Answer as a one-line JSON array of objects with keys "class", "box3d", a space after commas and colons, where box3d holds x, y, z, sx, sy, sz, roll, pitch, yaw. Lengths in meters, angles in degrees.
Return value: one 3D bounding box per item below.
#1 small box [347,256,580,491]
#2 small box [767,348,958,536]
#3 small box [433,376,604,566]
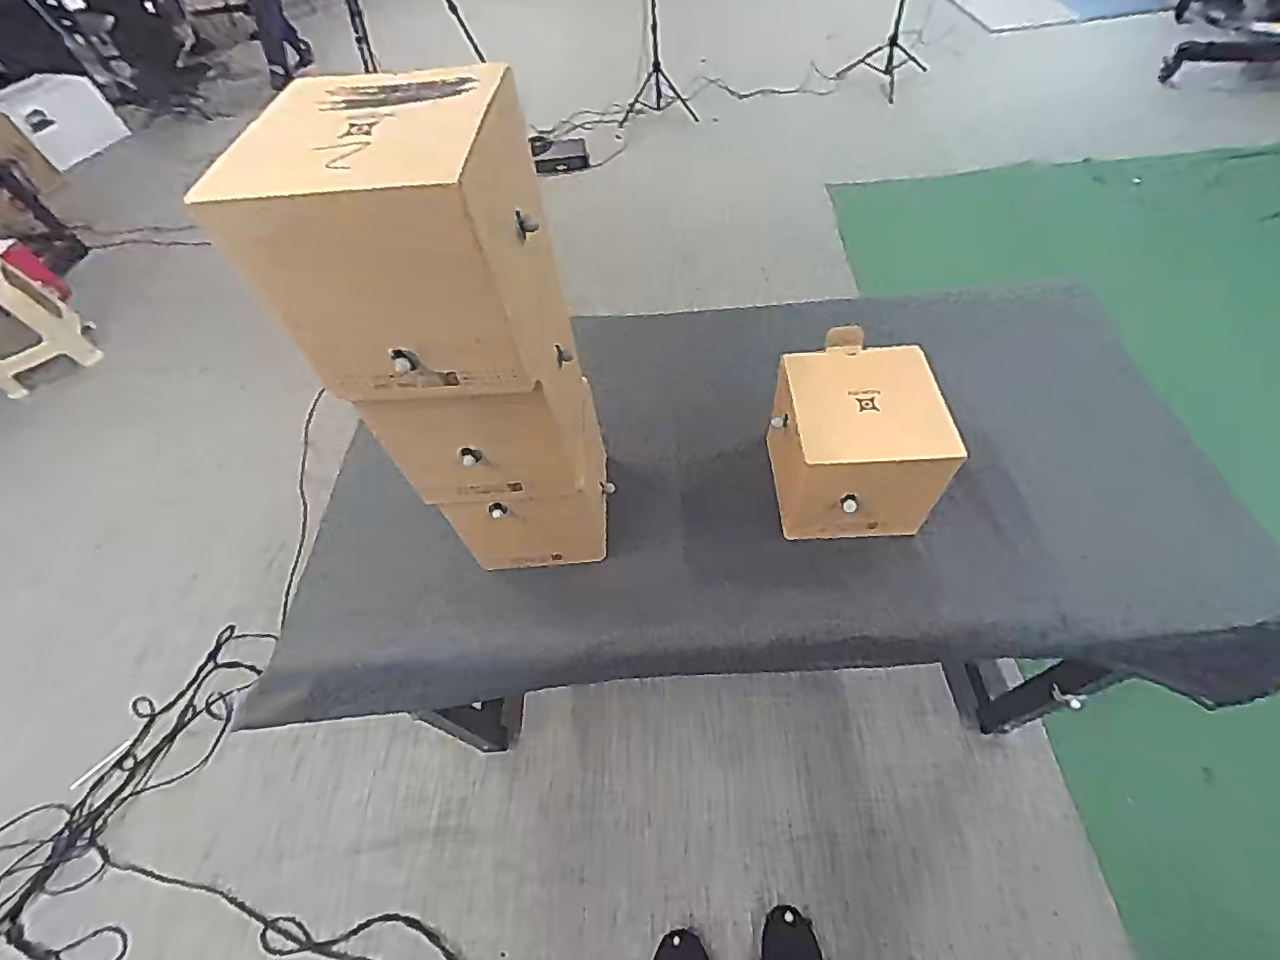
[{"class": "small box", "box3d": [-0.157, -0.099, 0.553, 0.168, 0.176, 0.179, -3, 54, 2]}, {"class": "small box", "box3d": [0.258, -0.040, 0.676, 0.168, 0.176, 0.179, -2, 54, 4]}, {"class": "small box", "box3d": [-0.139, -0.009, 0.690, 0.168, 0.176, 0.179, -4, 54, 2]}]
